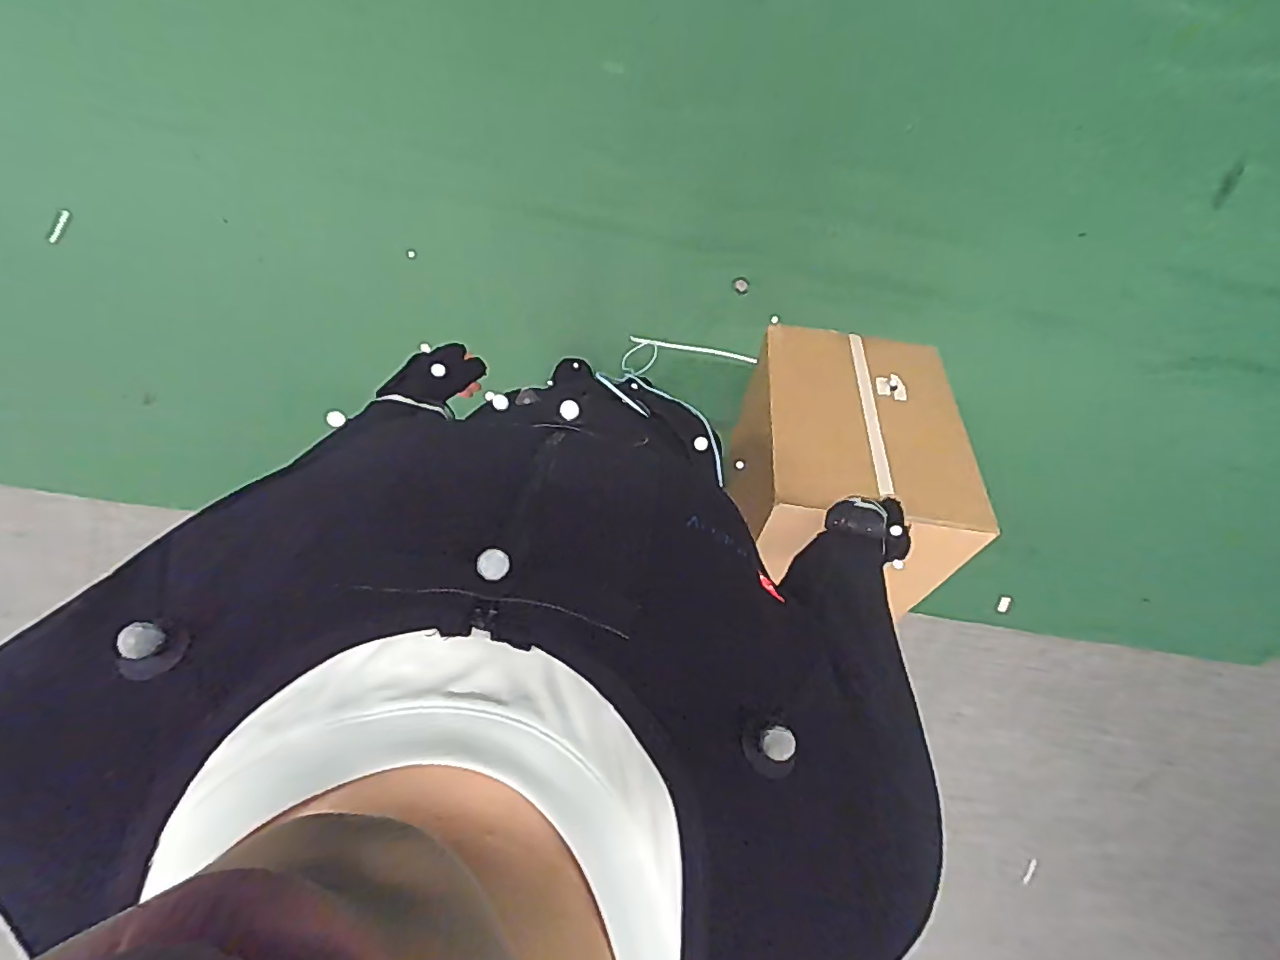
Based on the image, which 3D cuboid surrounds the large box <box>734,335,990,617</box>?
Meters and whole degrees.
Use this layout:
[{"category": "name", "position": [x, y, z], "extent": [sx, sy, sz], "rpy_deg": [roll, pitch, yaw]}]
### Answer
[{"category": "large box", "position": [0.354, -0.004, 0.997], "extent": [0.320, 0.408, 0.320], "rpy_deg": [8, 142, 0]}]
